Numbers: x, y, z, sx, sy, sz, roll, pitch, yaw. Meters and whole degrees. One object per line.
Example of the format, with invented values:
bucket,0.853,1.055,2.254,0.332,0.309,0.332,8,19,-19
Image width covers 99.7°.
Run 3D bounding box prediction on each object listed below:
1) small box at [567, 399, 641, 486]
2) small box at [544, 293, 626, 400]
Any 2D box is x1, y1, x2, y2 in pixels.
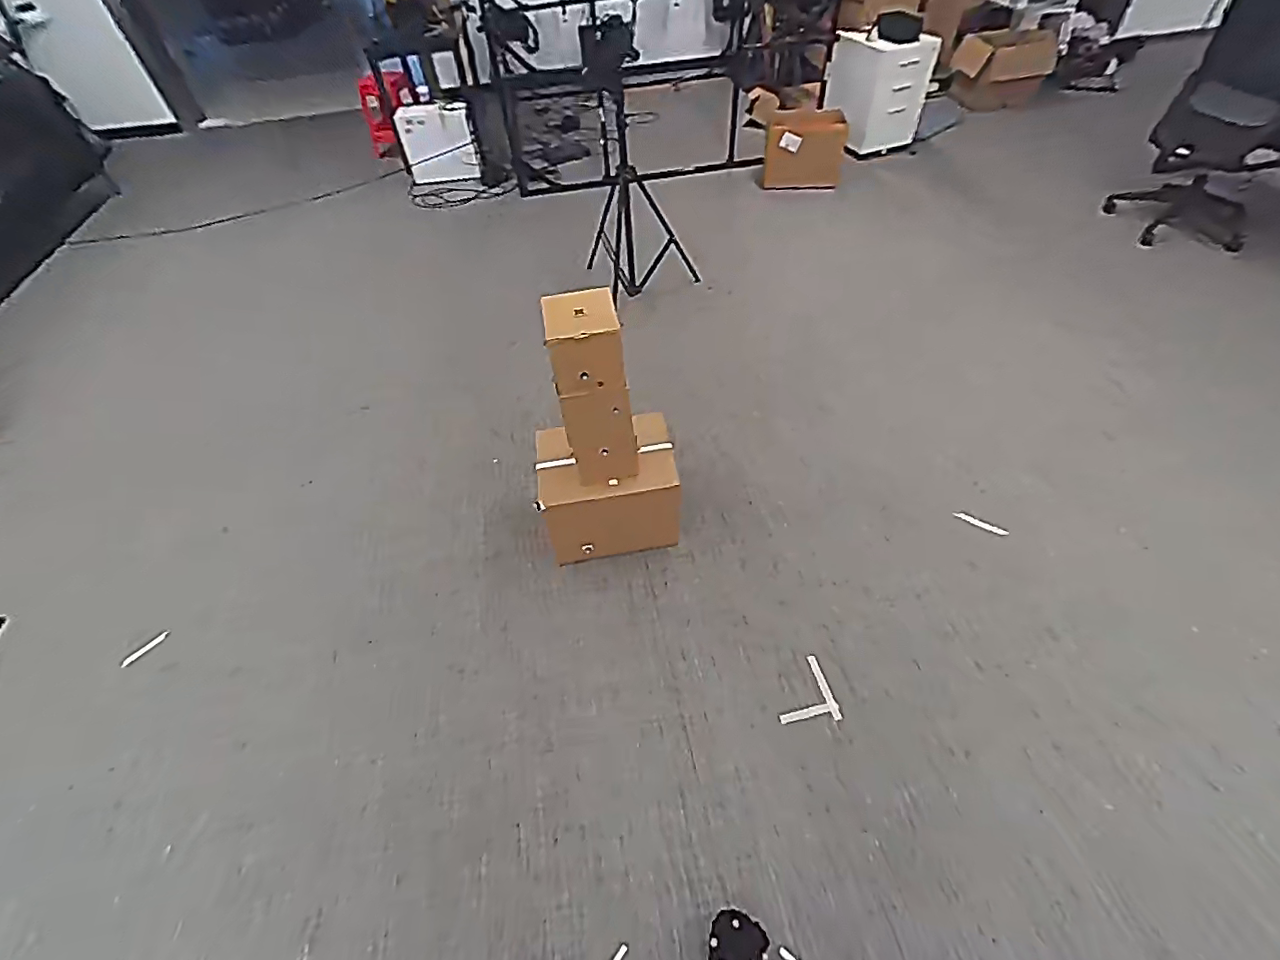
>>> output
small box,-0.101,-0.102,1.533,0.179,0.176,0.168,-11,51,-6
small box,-0.129,-0.317,1.287,0.168,0.176,0.179,-11,52,-5
